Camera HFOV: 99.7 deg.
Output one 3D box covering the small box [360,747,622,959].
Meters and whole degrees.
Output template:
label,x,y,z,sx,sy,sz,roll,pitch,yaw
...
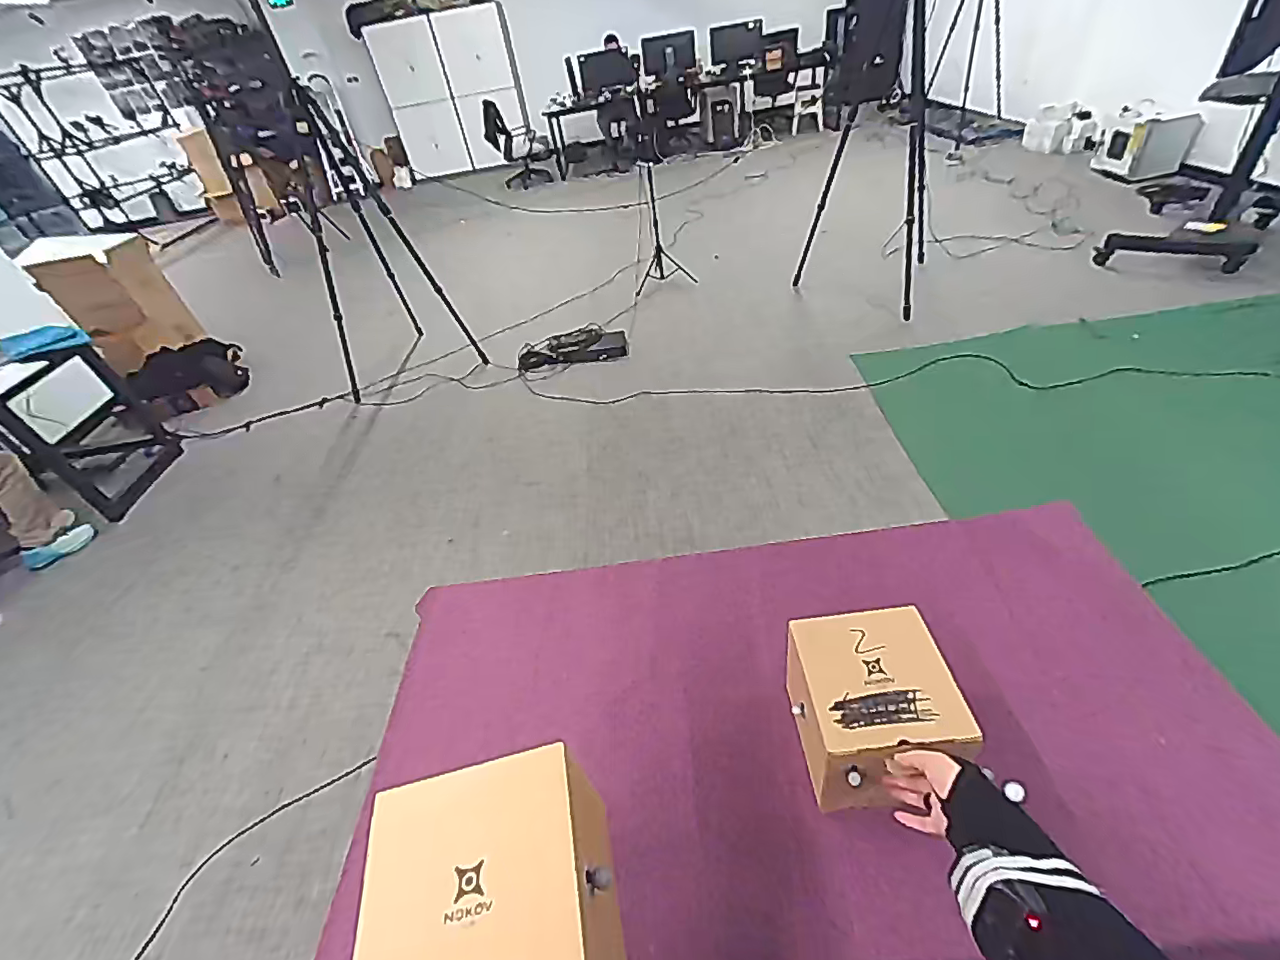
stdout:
label,x,y,z,sx,sy,sz,roll,pitch,yaw
small box,-0.116,0.369,0.468,0.168,0.176,0.179,-15,44,-2
